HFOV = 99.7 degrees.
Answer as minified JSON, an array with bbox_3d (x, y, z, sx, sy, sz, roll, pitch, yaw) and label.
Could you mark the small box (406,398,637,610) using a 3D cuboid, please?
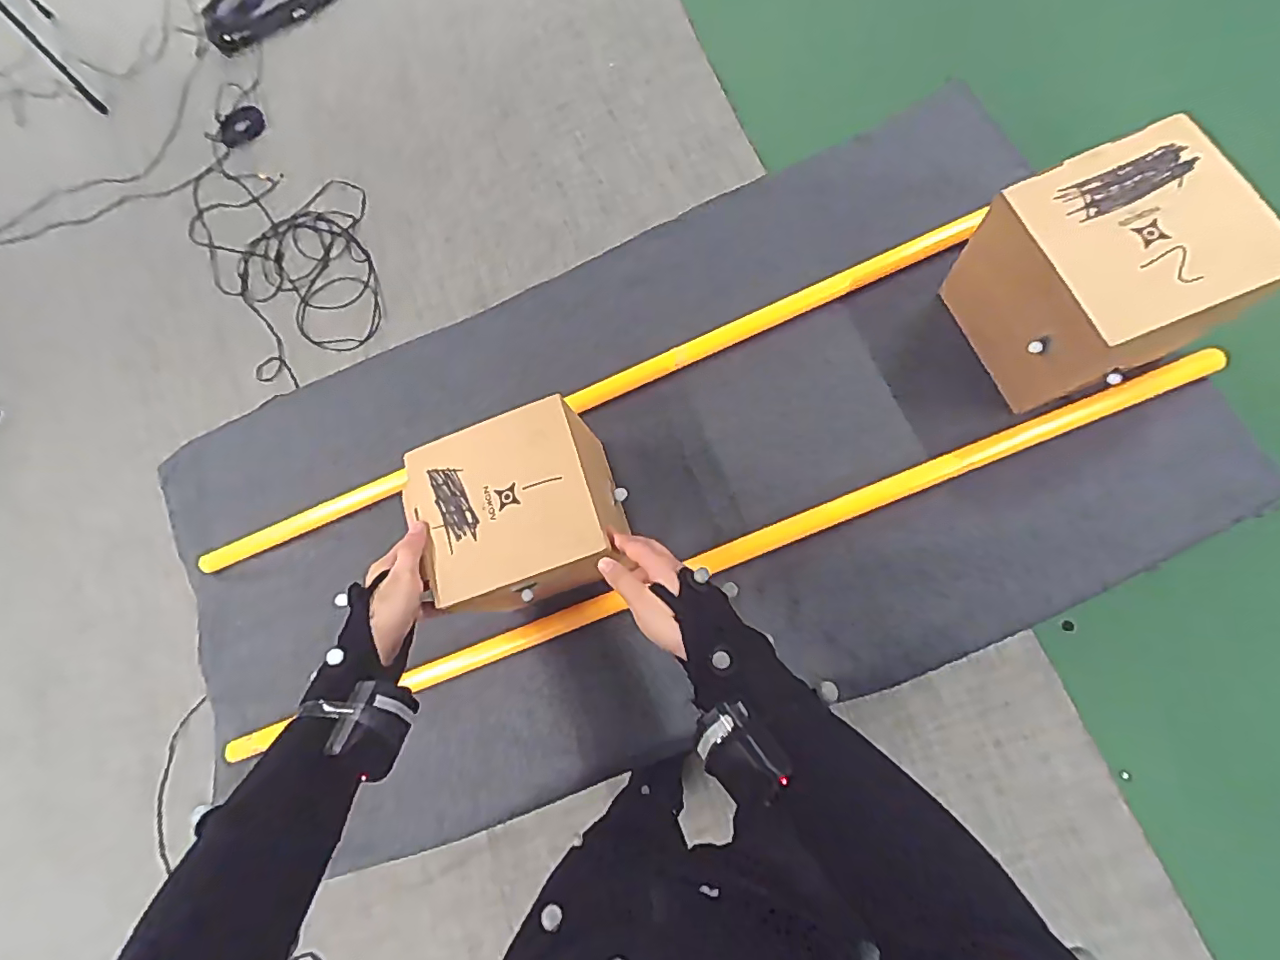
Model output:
[{"bbox_3d":[-0.119,0.039,0.593,0.179,0.176,0.168,-20,74,5],"label":"small box"}]
